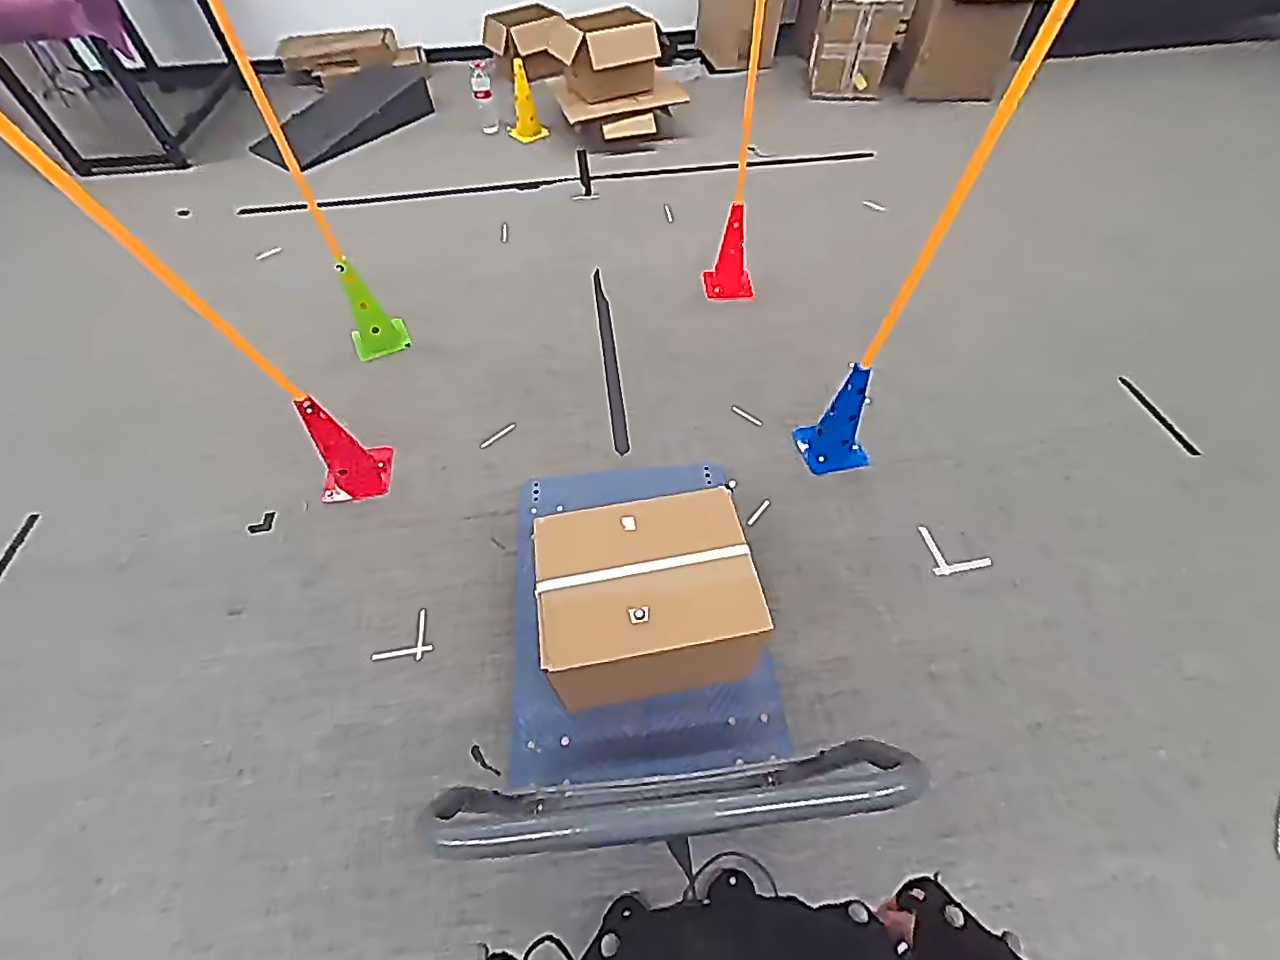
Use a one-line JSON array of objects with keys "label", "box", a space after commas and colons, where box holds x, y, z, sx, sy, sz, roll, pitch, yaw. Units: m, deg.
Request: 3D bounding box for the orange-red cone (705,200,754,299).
[{"label": "orange-red cone", "box": [0.379, -0.933, 2.160, 0.199, 0.360, 0.198, -1, 55, -1]}]

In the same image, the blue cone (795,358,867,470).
[{"label": "blue cone", "box": [0.628, -0.212, 1.662, 0.193, 0.380, 0.192, -10, 54, -6]}]
